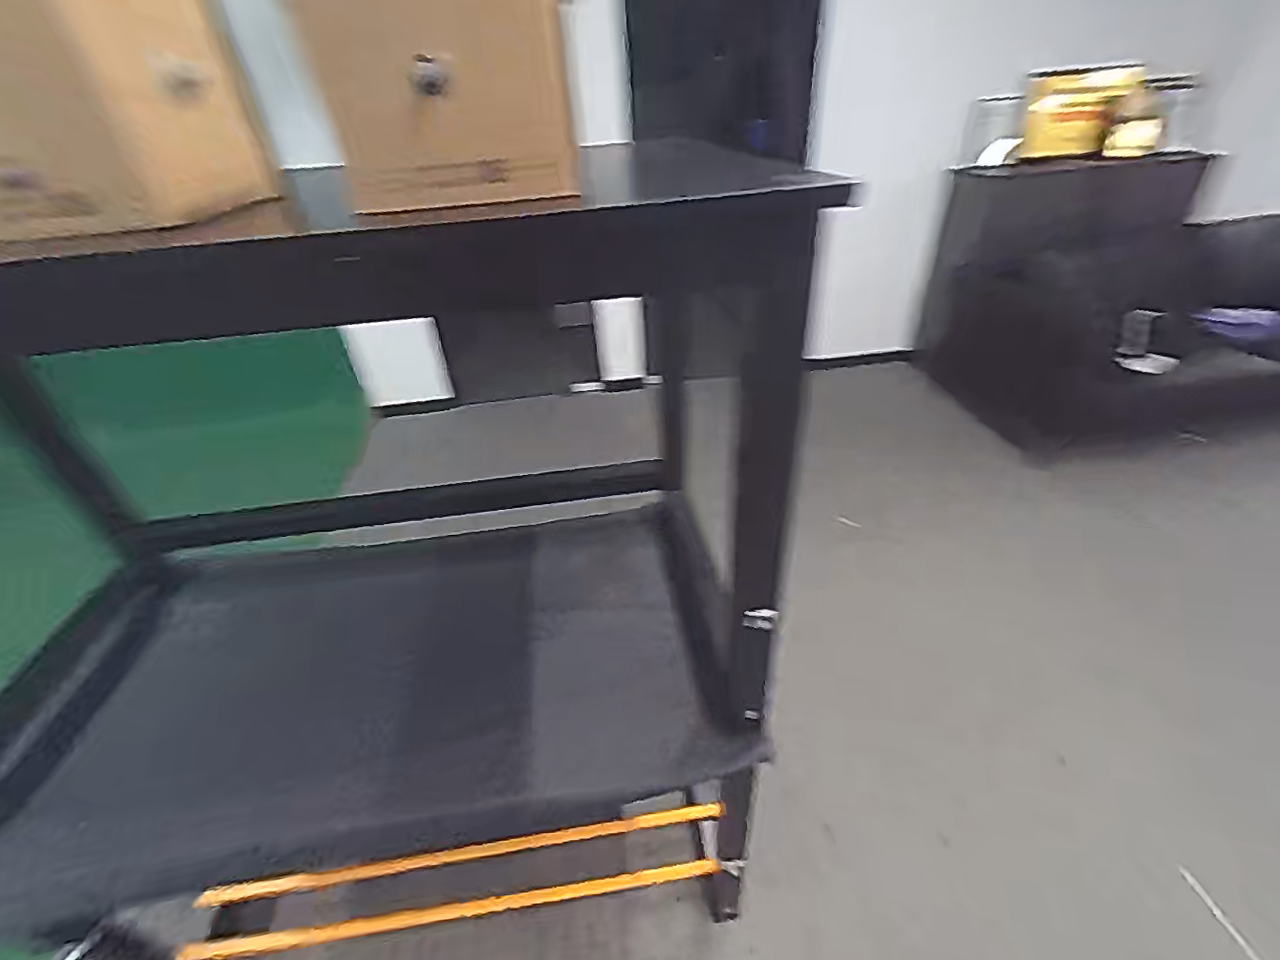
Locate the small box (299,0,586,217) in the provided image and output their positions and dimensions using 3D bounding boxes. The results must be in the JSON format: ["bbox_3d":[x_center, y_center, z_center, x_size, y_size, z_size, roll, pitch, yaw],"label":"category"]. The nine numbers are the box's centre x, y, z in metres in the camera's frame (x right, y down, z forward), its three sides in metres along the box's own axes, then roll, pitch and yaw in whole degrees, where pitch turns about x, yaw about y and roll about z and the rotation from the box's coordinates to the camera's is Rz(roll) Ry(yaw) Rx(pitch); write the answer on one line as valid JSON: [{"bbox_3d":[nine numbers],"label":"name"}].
[{"bbox_3d":[-0.135,-0.314,0.430,0.168,0.176,0.179,-6,35,-3],"label":"small box"}]
